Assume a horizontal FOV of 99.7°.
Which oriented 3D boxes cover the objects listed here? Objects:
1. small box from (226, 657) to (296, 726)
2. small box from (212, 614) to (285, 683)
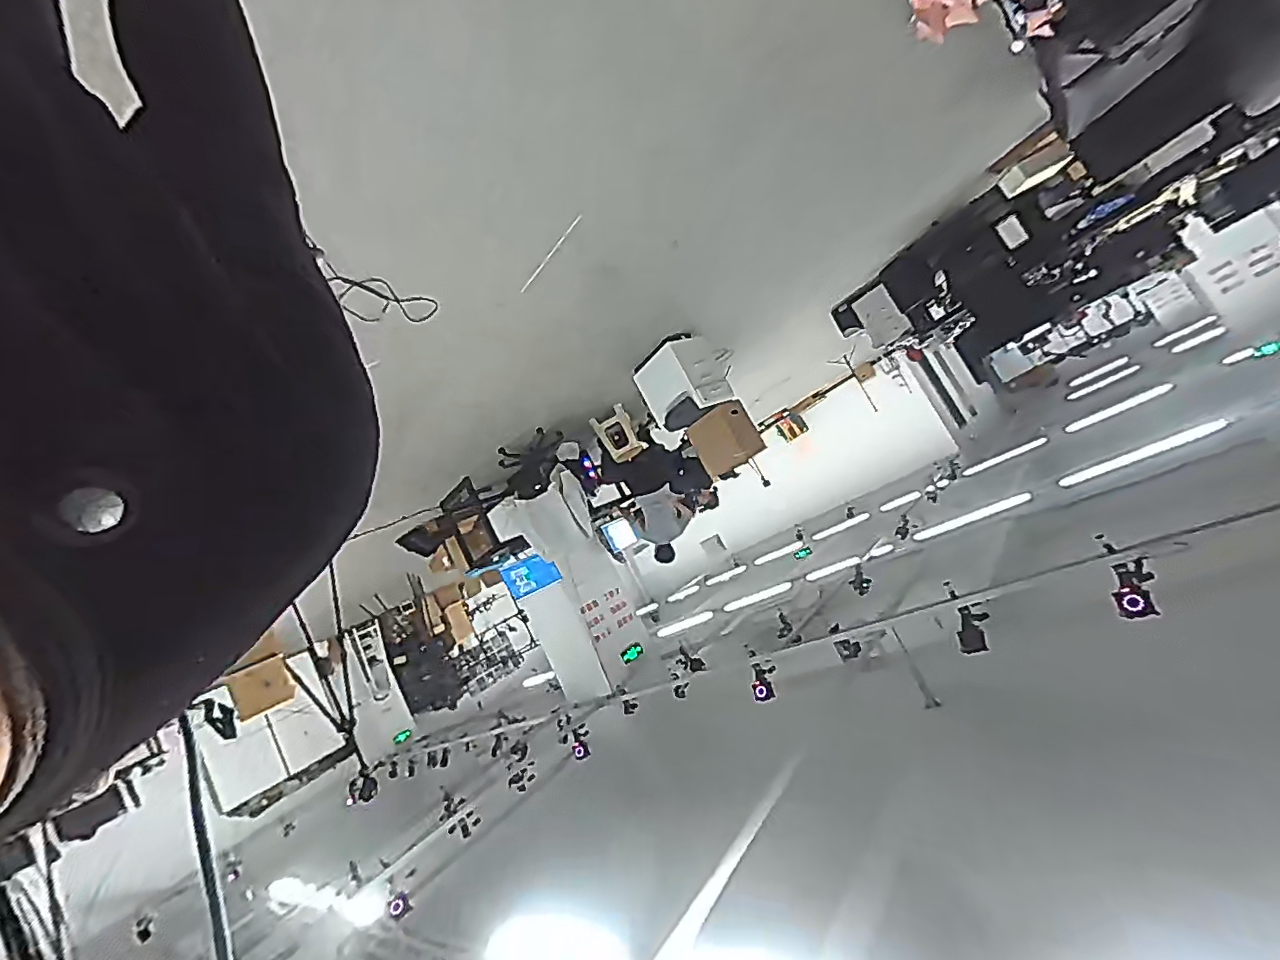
[{"bbox_3d":[-1.350,0.750,1.926,0.168,0.176,0.179,-21,170,-39],"label":"small box"},{"bbox_3d":[-1.426,0.610,1.961,0.179,0.176,0.168,-21,170,-43],"label":"small box"}]
